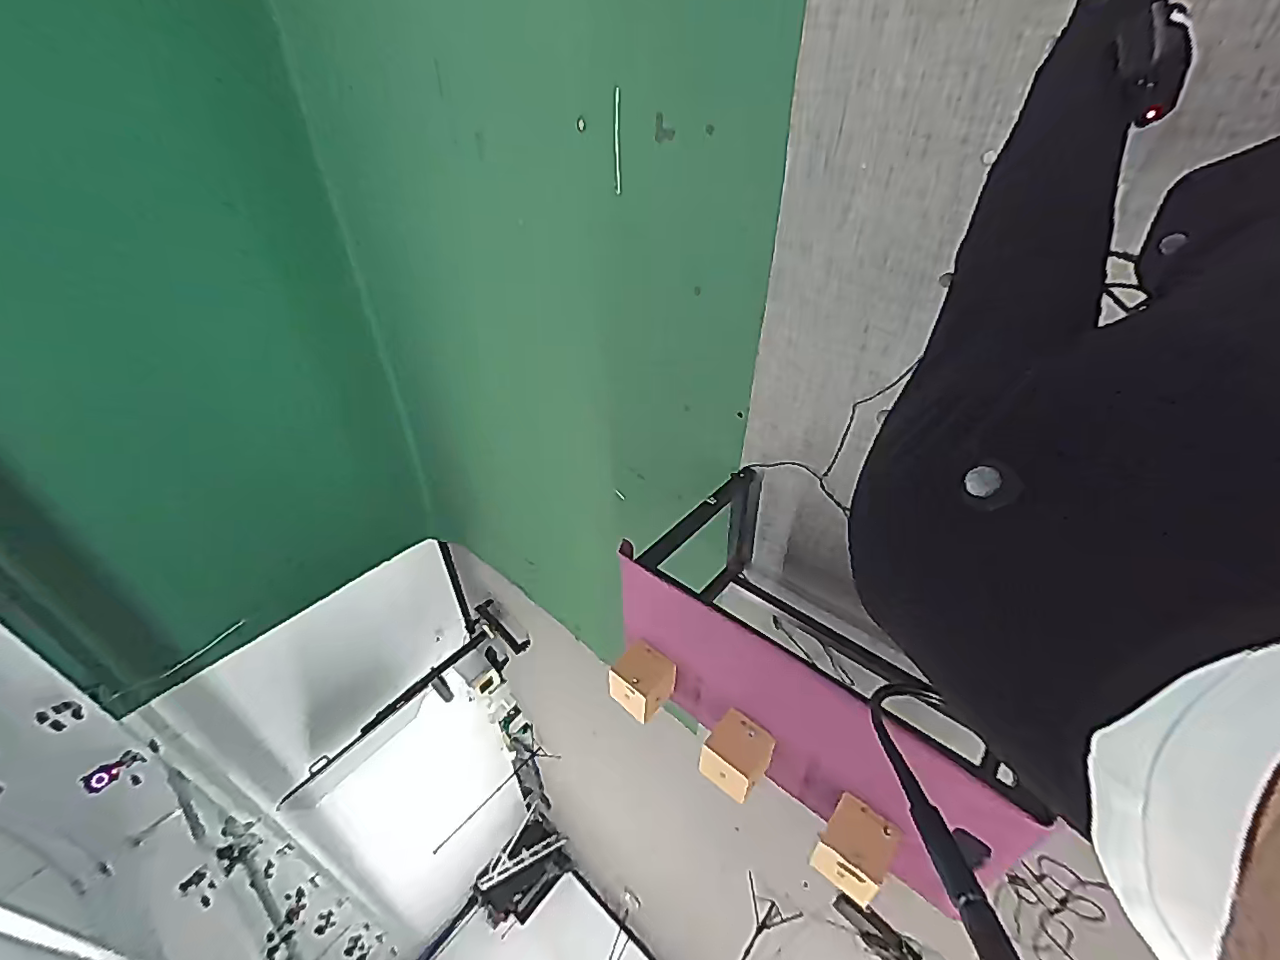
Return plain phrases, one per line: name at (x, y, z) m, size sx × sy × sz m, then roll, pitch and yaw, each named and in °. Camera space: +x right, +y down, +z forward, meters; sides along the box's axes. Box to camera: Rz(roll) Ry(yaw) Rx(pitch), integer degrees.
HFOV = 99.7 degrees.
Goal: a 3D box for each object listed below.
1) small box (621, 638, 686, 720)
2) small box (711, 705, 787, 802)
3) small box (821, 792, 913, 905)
small box at (0.050, 0.697, 1.905) m, size 0.168 × 0.176 × 0.179 m, roll 28°, pitch 137°, yaw 31°
small box at (0.342, 0.855, 1.699) m, size 0.168 × 0.176 × 0.179 m, roll 28°, pitch 136°, yaw 31°
small box at (0.627, 1.008, 1.491) m, size 0.168 × 0.176 × 0.179 m, roll 27°, pitch 137°, yaw 33°
